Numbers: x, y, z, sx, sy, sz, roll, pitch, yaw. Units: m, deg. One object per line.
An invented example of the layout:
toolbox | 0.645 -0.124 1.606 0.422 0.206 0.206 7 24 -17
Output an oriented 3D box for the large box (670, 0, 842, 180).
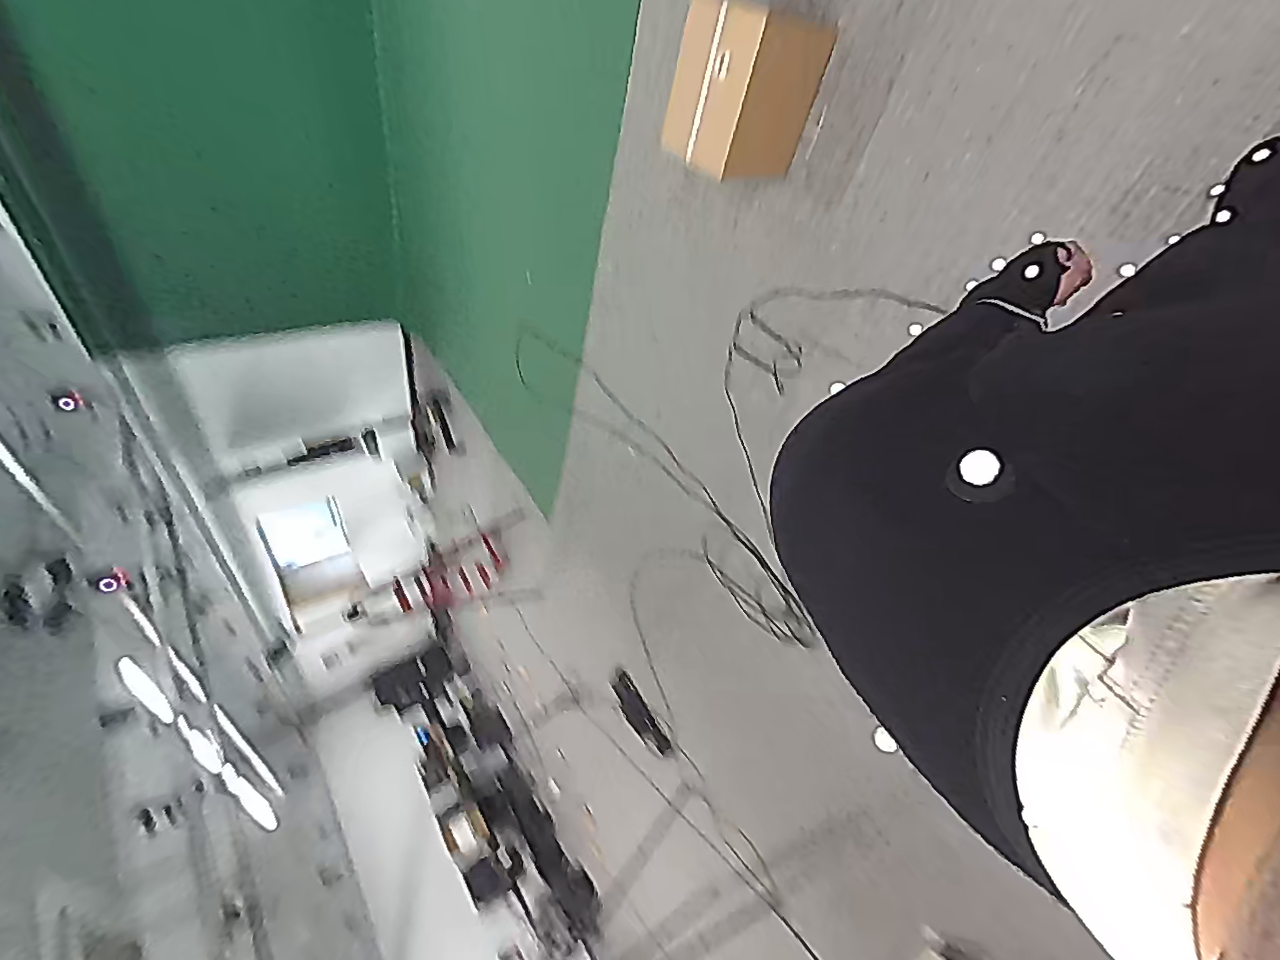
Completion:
large box | 0.343 -1.202 1.677 0.320 0.320 0.408 48 140 30
